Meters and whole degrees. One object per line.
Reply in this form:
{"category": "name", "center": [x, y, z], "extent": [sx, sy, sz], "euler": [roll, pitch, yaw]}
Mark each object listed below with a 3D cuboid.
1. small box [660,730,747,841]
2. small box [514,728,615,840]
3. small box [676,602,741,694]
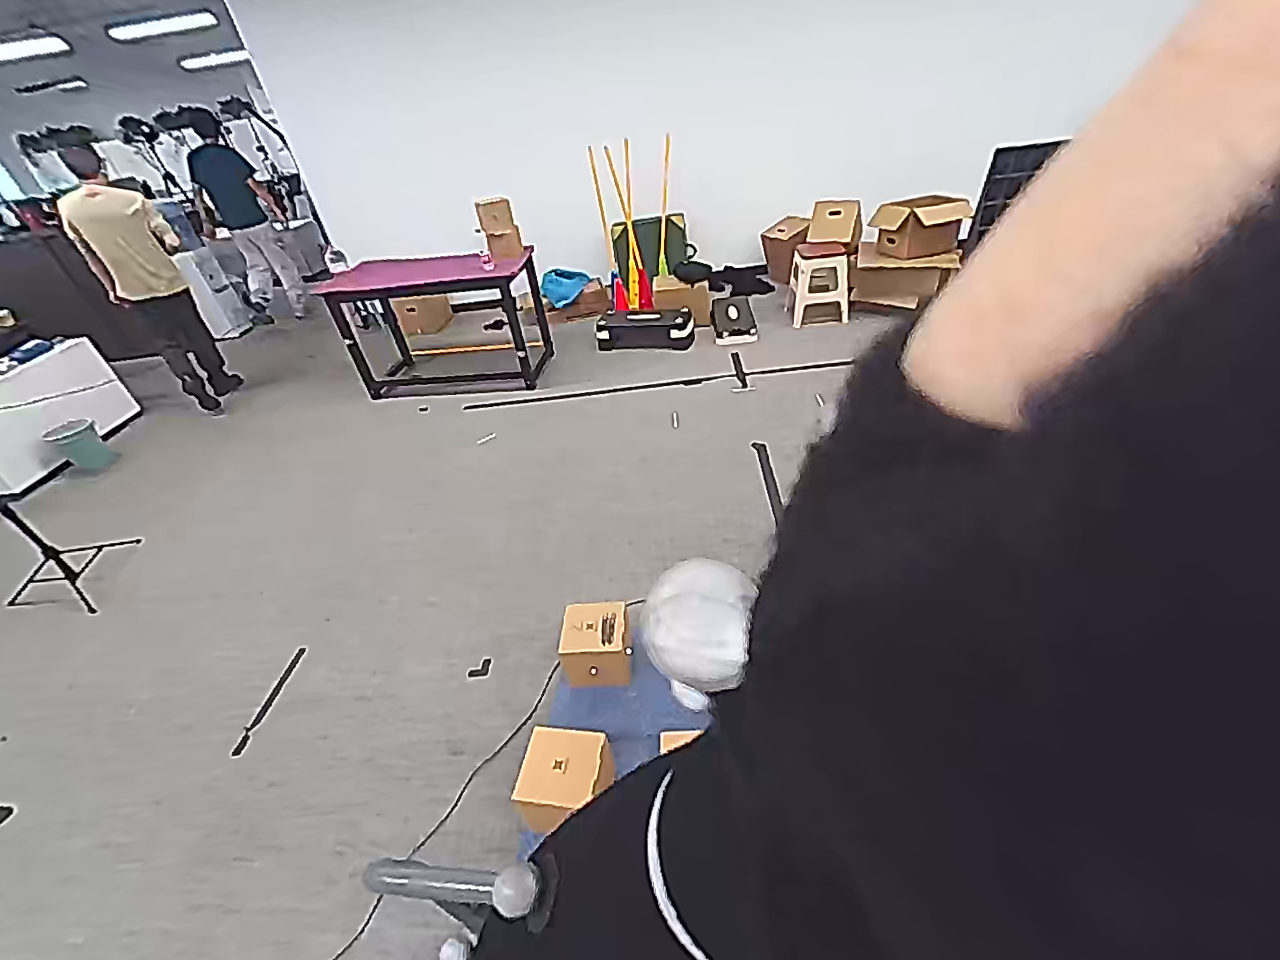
{"category": "small box", "center": [0.142, 0.681, 1.202], "extent": [0.179, 0.176, 0.168], "euler": [-4, 36, 6]}
{"category": "small box", "center": [-0.164, 0.698, 1.243], "extent": [0.179, 0.176, 0.168], "euler": [1, 37, 10]}
{"category": "small box", "center": [0.193, 0.461, 1.489], "extent": [0.168, 0.176, 0.179], "euler": [-1, 38, 10]}
